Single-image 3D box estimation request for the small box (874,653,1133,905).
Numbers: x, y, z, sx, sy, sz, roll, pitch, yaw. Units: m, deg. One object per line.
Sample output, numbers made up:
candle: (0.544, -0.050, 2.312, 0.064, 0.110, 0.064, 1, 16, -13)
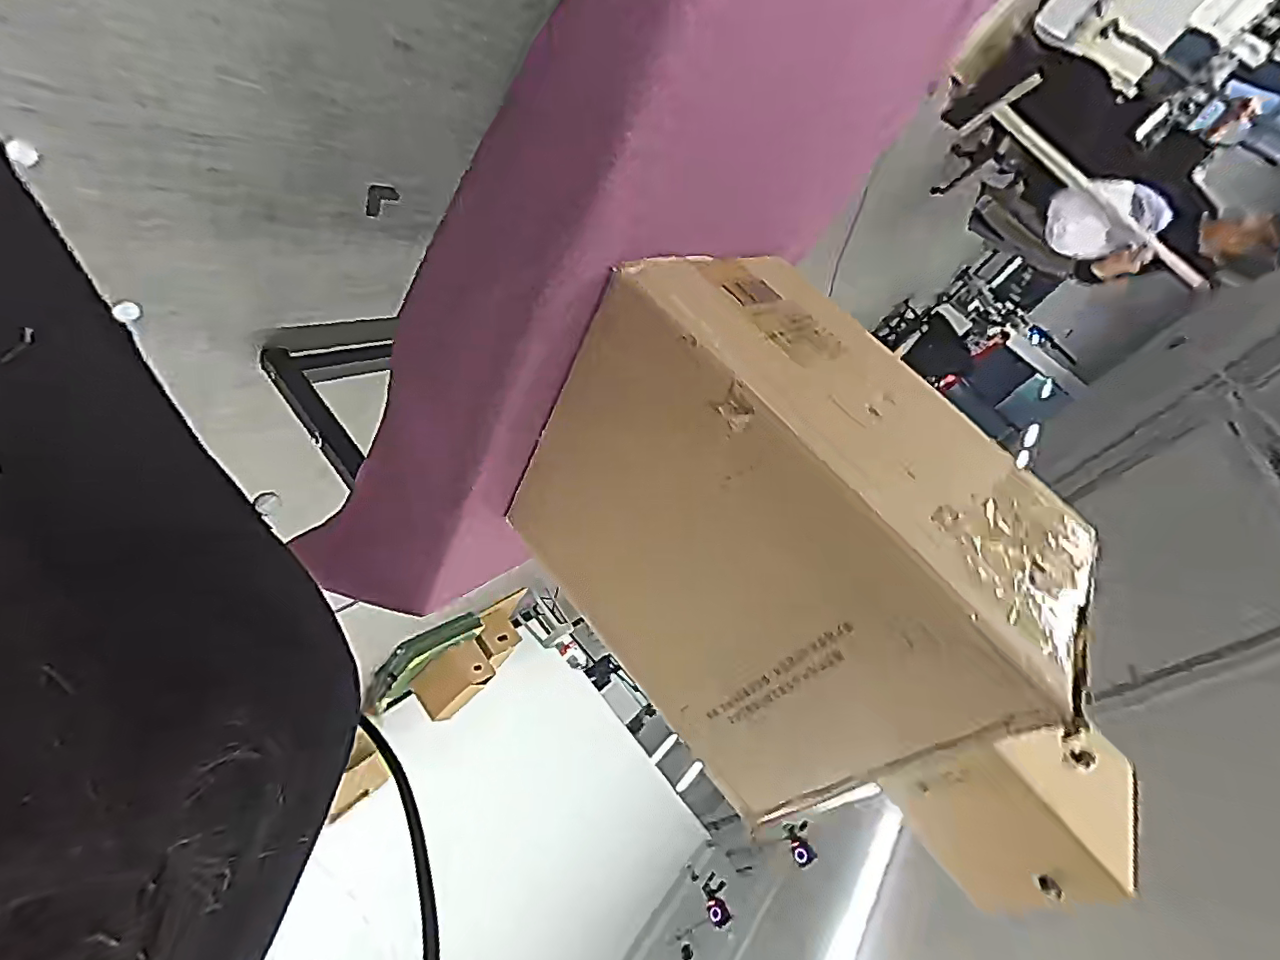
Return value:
small box: (0.409, 0.333, 0.622, 0.179, 0.176, 0.168, -28, 160, -46)
